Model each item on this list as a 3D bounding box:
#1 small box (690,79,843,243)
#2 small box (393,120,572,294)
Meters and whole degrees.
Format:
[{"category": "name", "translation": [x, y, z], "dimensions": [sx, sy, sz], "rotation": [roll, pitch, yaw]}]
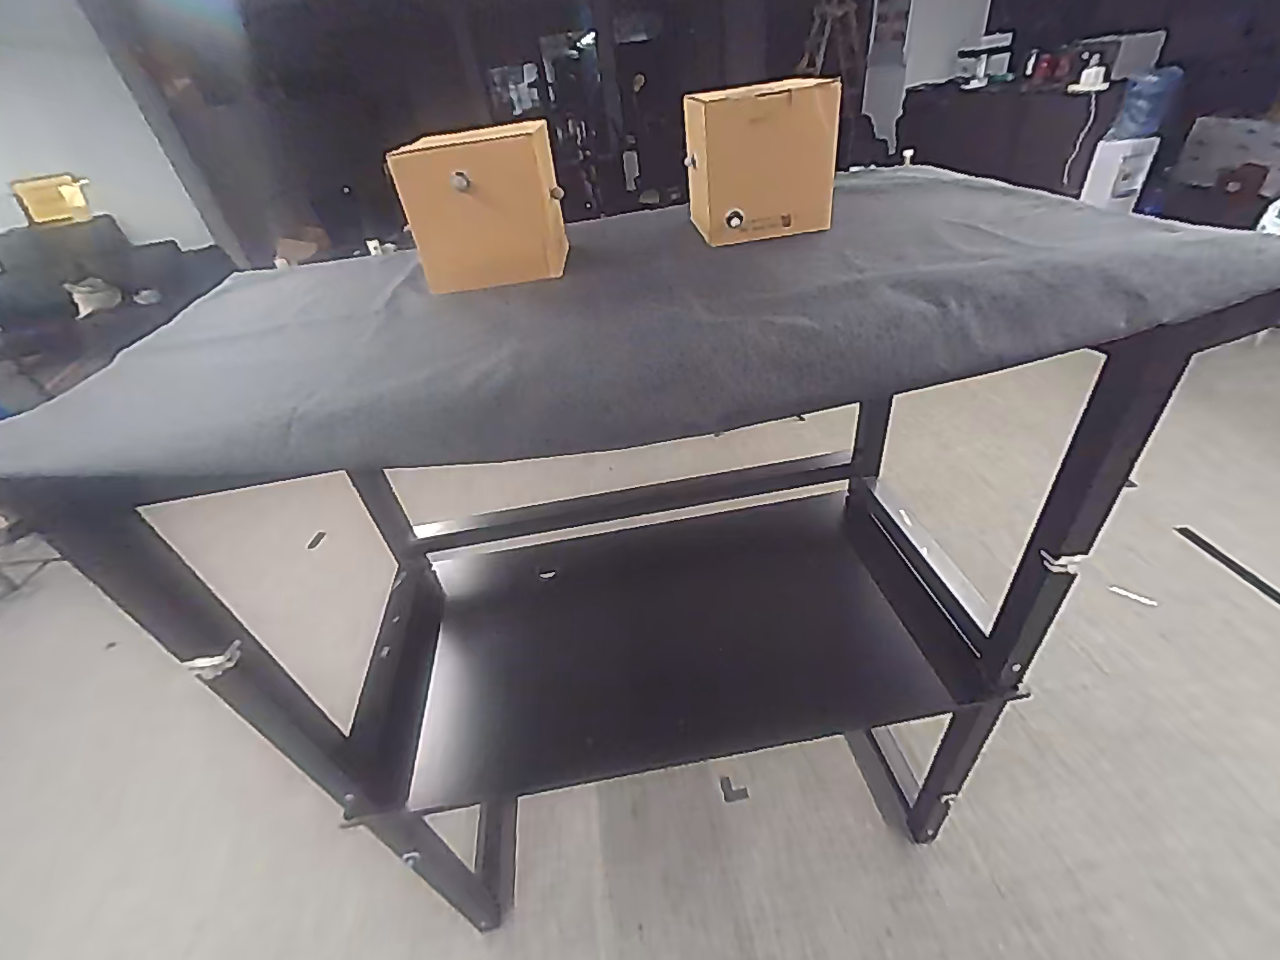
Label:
[{"category": "small box", "translation": [0.166, -0.440, 0.752], "dimensions": [0.168, 0.176, 0.179], "rotation": [-8, 37, 1]}, {"category": "small box", "translation": [-0.192, -0.367, 0.728], "dimensions": [0.179, 0.176, 0.168], "rotation": [-7, 38, 3]}]
